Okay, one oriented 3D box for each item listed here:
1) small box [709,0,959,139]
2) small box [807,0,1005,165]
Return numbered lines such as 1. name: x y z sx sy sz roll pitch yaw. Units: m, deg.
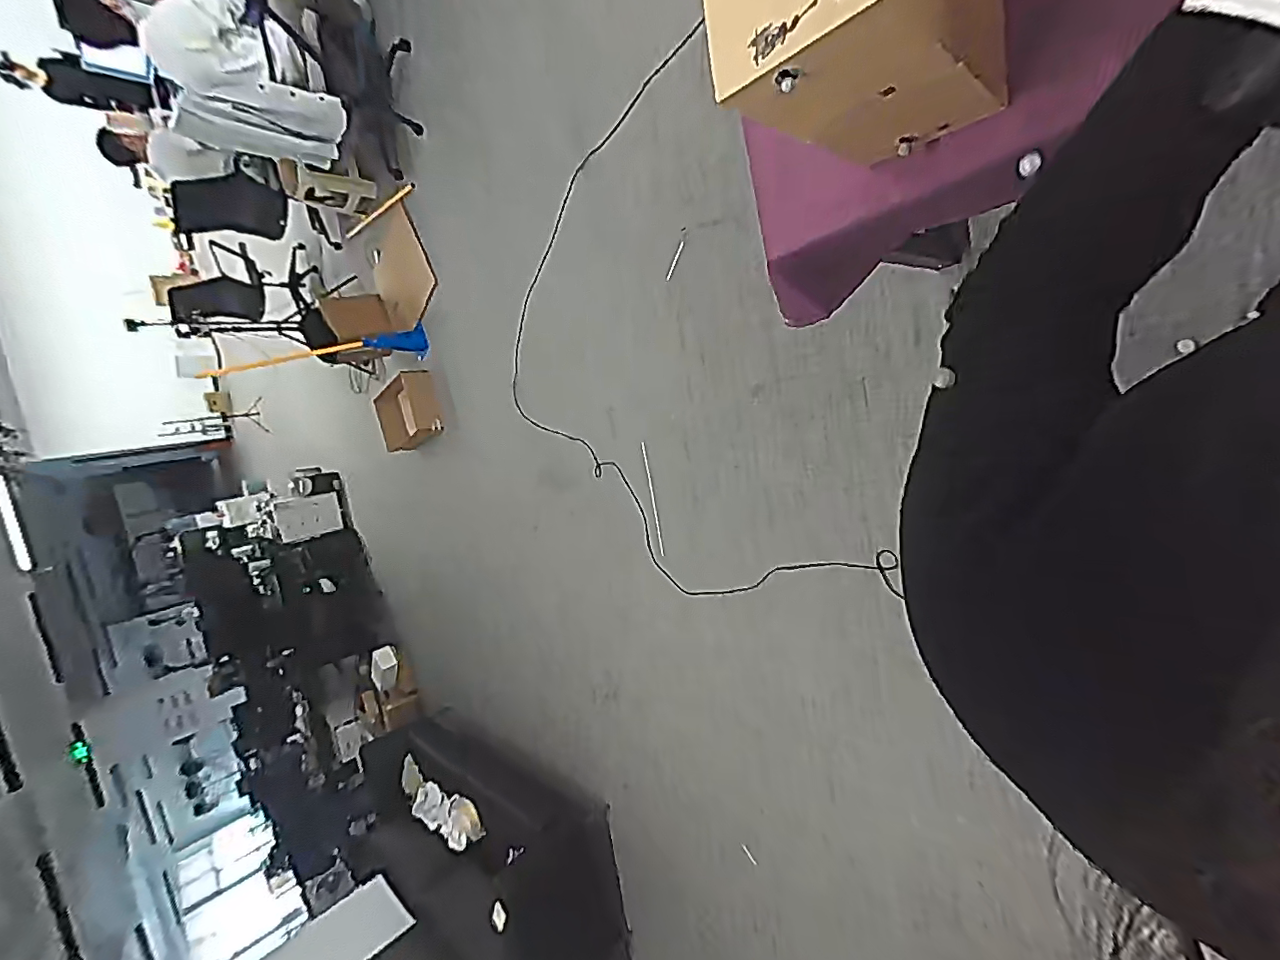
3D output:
1. small box: 0.181 -0.462 0.507 0.168 0.176 0.179 1 101 48
2. small box: 0.300 -0.494 0.618 0.168 0.176 0.179 1 103 47
